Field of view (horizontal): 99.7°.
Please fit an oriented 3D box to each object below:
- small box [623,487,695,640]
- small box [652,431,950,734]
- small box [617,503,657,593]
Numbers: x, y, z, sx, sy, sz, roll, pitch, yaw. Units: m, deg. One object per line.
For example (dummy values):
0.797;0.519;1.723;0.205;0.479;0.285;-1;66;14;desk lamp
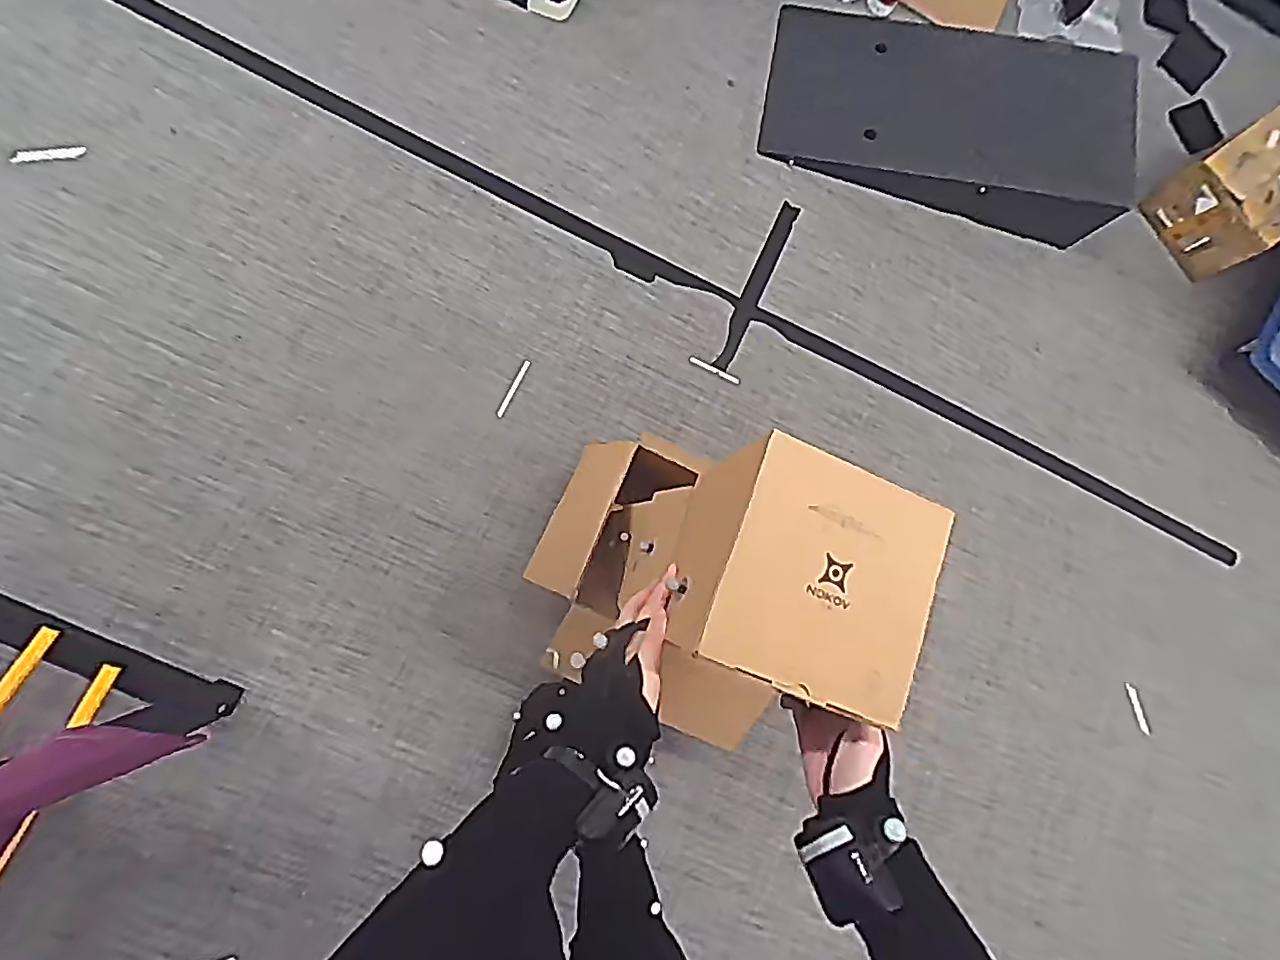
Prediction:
0.090;0.117;0.666;0.179;0.176;0.168;19;83;-10;small box
0.122;0.085;0.472;0.168;0.176;0.179;24;77;-8;small box
0.057;0.135;0.995;0.179;0.176;0.168;5;84;-12;small box
